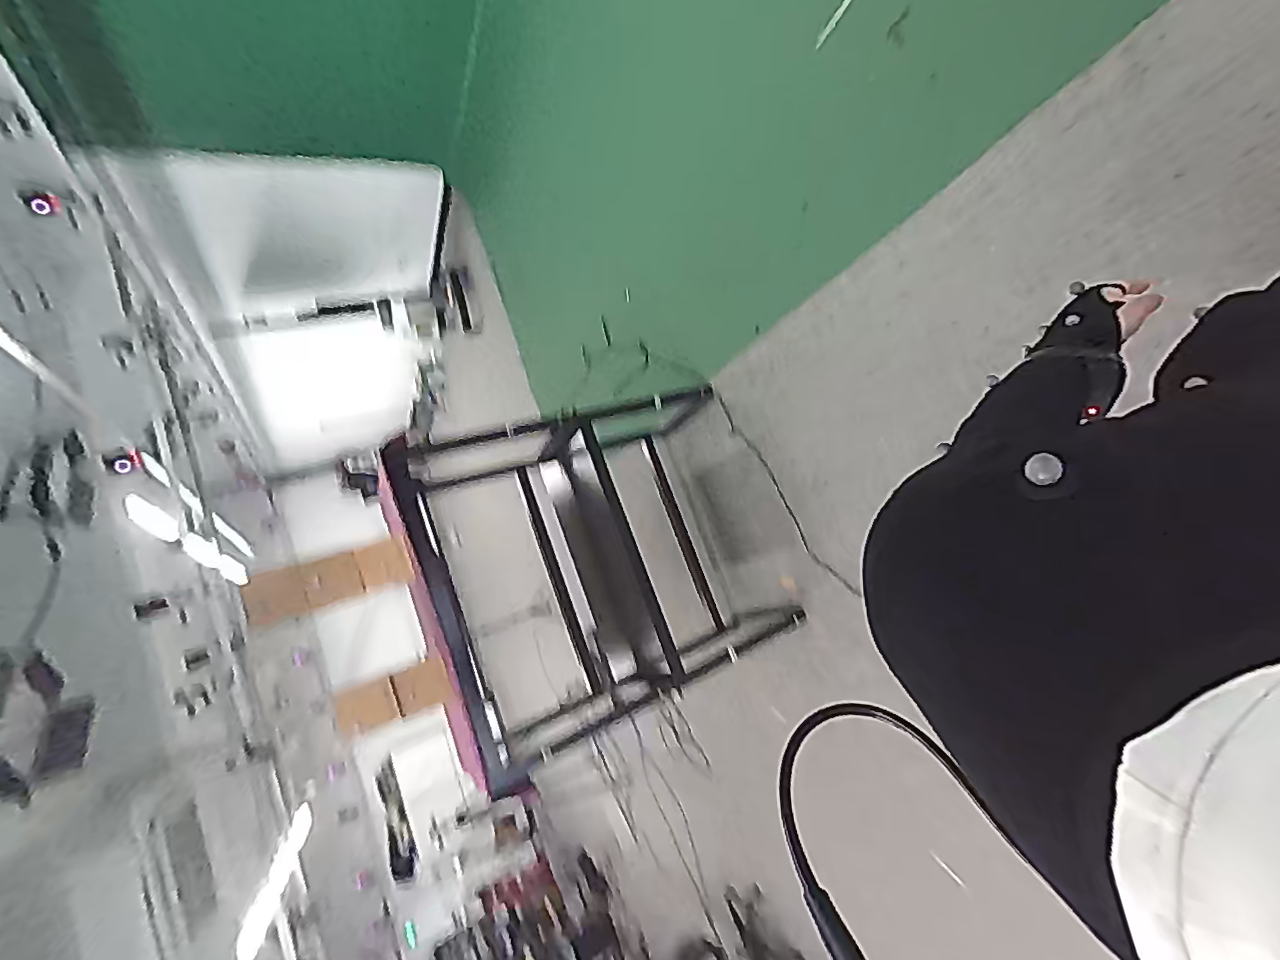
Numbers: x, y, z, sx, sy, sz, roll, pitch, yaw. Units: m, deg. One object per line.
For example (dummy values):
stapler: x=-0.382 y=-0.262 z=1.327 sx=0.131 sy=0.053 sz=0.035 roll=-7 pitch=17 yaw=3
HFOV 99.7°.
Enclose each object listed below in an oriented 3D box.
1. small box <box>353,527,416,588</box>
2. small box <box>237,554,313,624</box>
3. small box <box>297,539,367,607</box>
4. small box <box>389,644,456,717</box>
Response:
small box: x=-0.907 y=0.275 z=1.928 sx=0.179 sy=0.176 sz=0.168 roll=-28 pitch=80 yaw=62
small box: x=-1.185 y=0.358 z=1.776 sx=0.168 sy=0.176 sz=0.179 roll=-31 pitch=77 yaw=61
small box: x=-1.041 y=0.317 z=1.843 sx=0.168 sy=0.176 sz=0.179 roll=-35 pitch=74 yaw=60
small box: x=-0.729 y=0.670 z=1.813 sx=0.168 sy=0.176 sz=0.179 roll=-42 pitch=68 yaw=59
